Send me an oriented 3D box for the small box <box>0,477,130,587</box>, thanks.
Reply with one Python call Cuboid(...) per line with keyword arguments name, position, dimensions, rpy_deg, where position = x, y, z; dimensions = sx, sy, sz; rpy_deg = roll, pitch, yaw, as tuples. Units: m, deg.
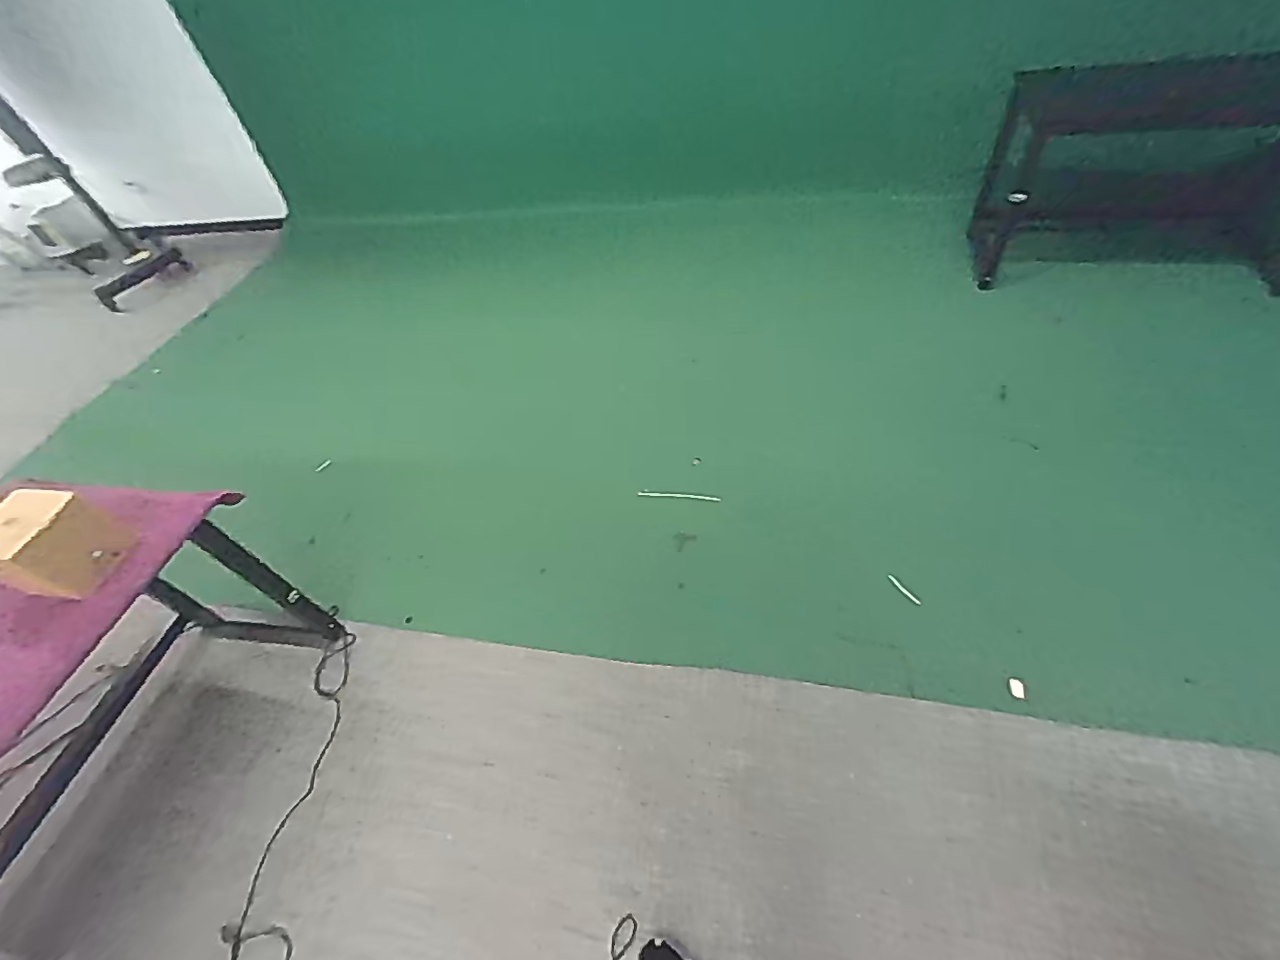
Cuboid(name="small box", position=(-1.258, 0.111, 1.133), dimensions=(0.179, 0.176, 0.168), rpy_deg=(4, 53, 11))
